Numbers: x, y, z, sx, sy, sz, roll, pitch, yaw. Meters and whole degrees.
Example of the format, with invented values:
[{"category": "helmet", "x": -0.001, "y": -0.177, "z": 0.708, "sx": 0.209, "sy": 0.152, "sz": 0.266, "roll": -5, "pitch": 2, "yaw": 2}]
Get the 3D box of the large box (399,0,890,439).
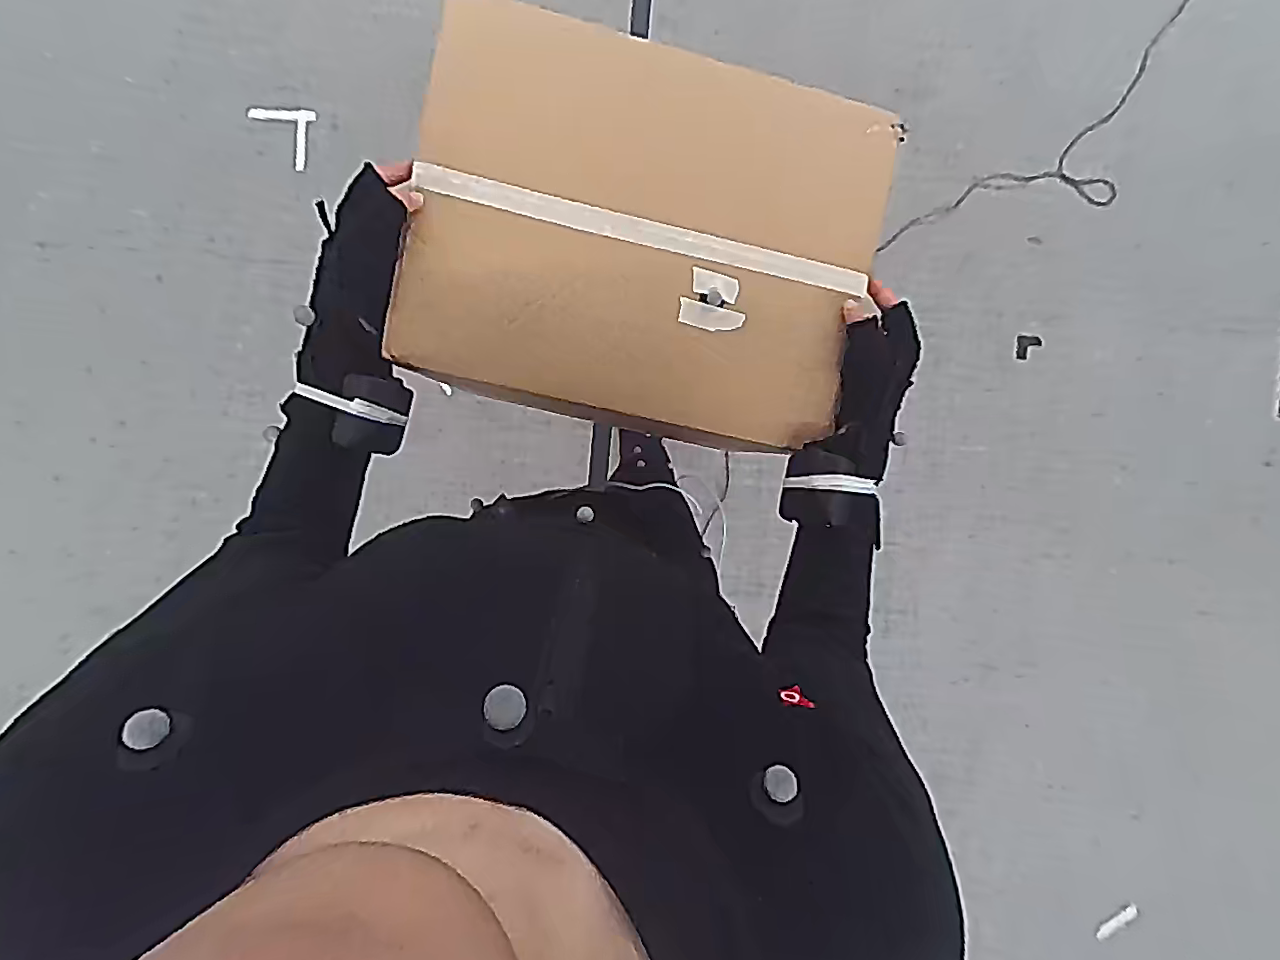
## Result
[{"category": "large box", "x": -0.007, "y": -0.235, "z": 0.632, "sx": 0.408, "sy": 0.320, "sz": 0.320, "roll": 12, "pitch": 94, "yaw": -7}]
